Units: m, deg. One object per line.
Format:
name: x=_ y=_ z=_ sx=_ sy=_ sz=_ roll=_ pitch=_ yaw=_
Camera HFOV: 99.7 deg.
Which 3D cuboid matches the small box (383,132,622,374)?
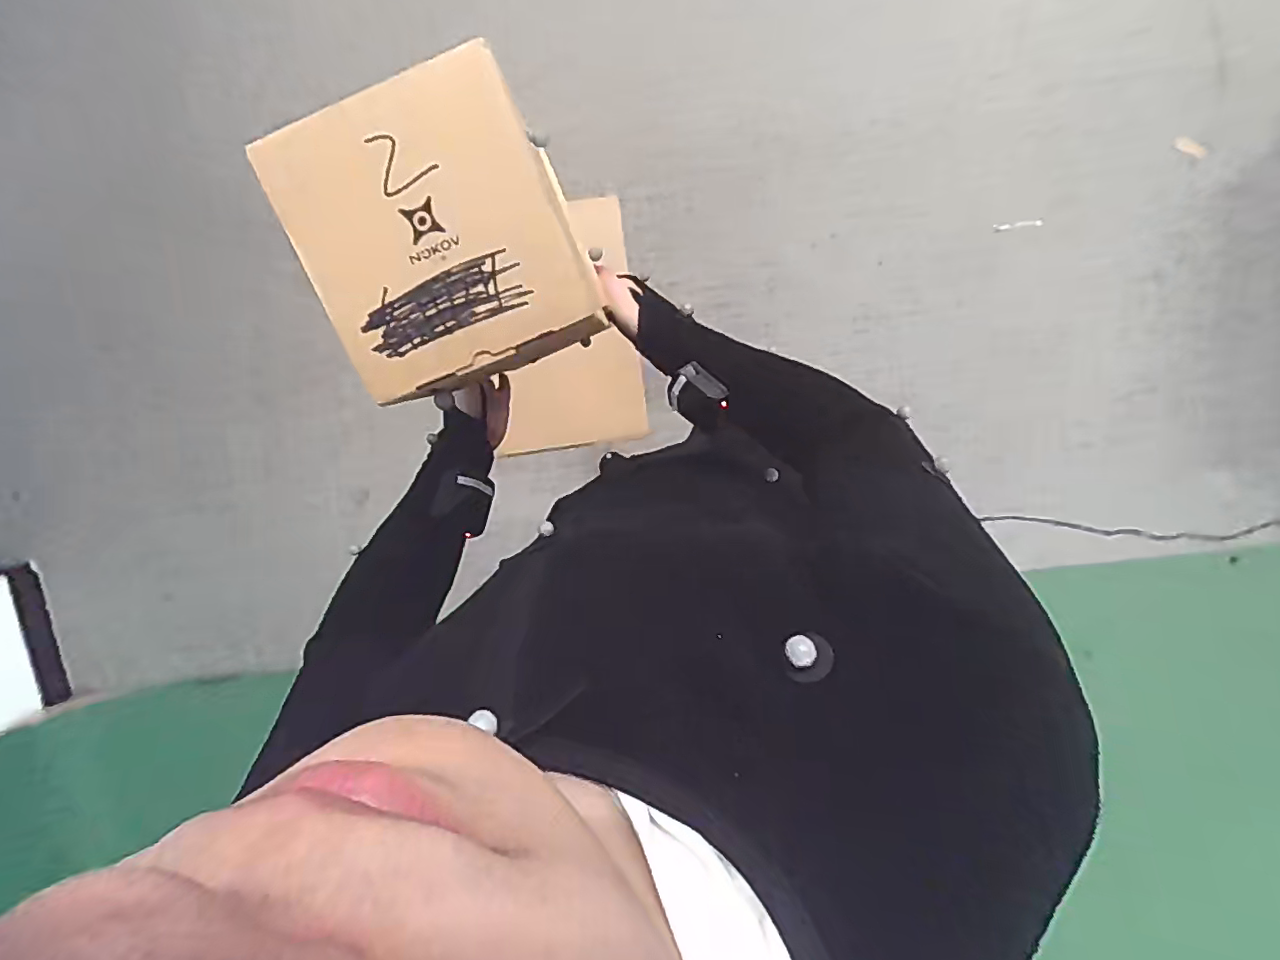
small box: x=-0.129 y=-0.228 z=0.583 sx=0.179 sy=0.176 sz=0.168 roll=-23 pitch=103 yaw=5
